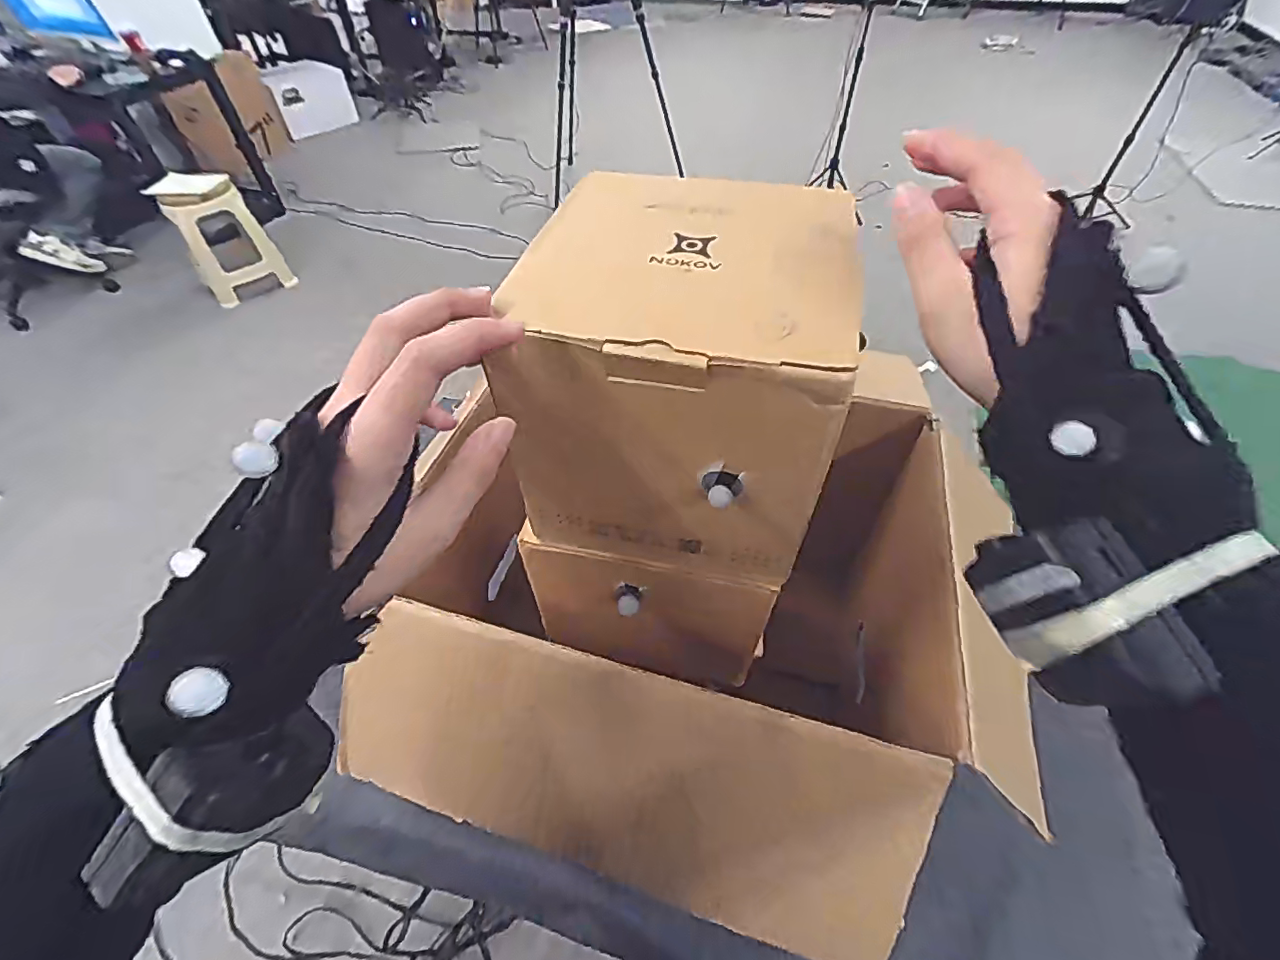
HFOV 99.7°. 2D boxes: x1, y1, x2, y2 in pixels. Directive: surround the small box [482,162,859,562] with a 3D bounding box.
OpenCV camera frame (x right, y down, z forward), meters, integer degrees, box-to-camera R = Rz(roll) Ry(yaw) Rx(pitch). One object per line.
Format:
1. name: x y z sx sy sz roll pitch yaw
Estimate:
1. small box: 0.027 -0.072 0.339 0.168 0.176 0.179 10 50 8
